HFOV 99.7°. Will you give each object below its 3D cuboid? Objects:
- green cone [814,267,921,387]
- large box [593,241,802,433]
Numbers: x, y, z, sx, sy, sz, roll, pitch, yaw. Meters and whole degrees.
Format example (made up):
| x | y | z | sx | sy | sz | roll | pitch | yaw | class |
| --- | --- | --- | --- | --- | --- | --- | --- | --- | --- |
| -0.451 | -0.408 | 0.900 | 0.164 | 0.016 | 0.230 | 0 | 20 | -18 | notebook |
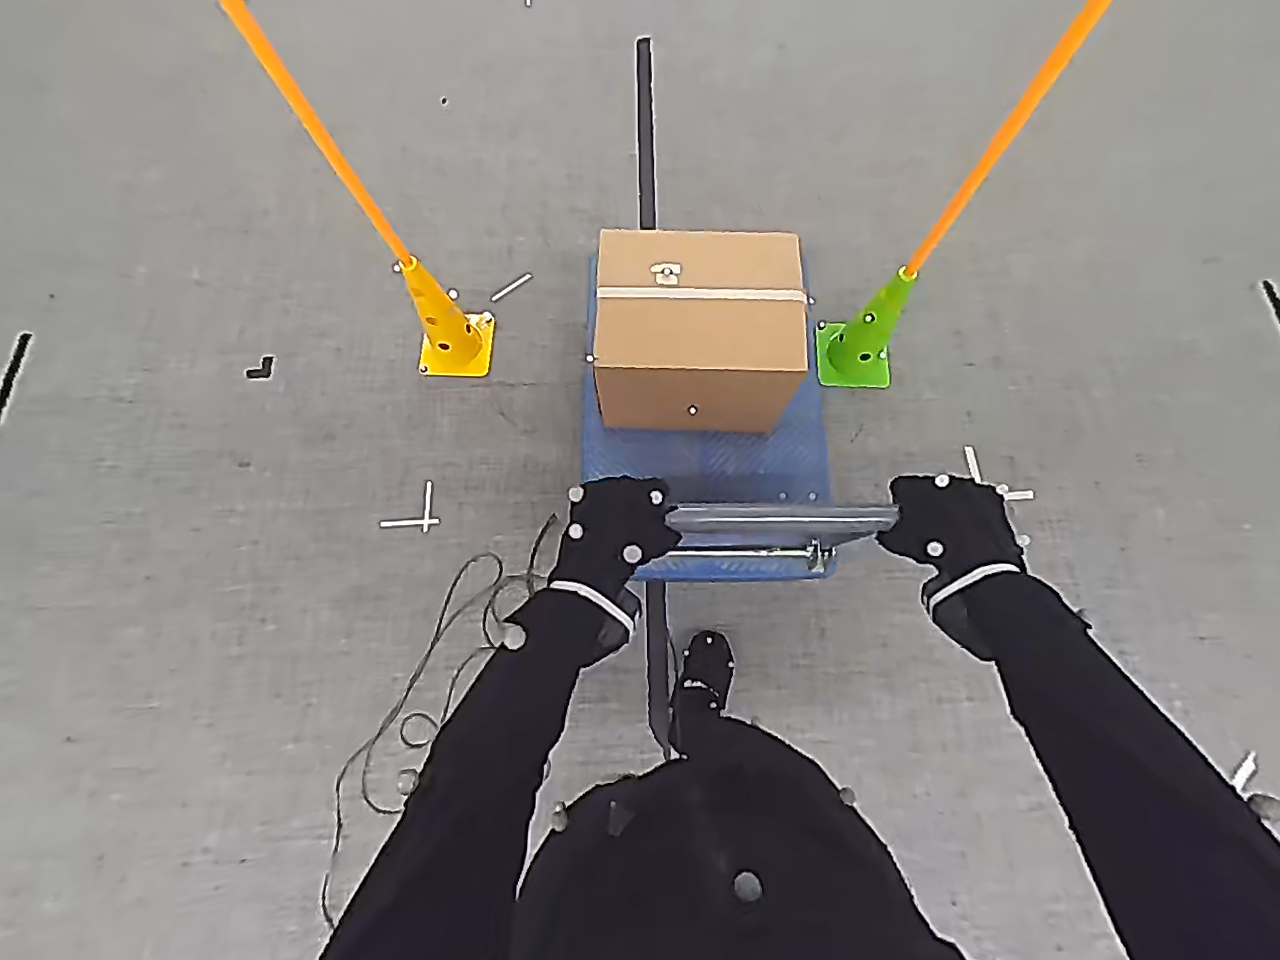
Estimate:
| x | y | z | sx | sy | sz | roll | pitch | yaw | class |
| --- | --- | --- | --- | --- | --- | --- | --- | --- | --- |
| 0.603 | -0.407 | 1.381 | 0.202 | 0.368 | 0.200 | 2 | 73 | 0 | green cone |
| 0.115 | -0.299 | 1.204 | 0.408 | 0.320 | 0.320 | 1 | 73 | 1 | large box |
